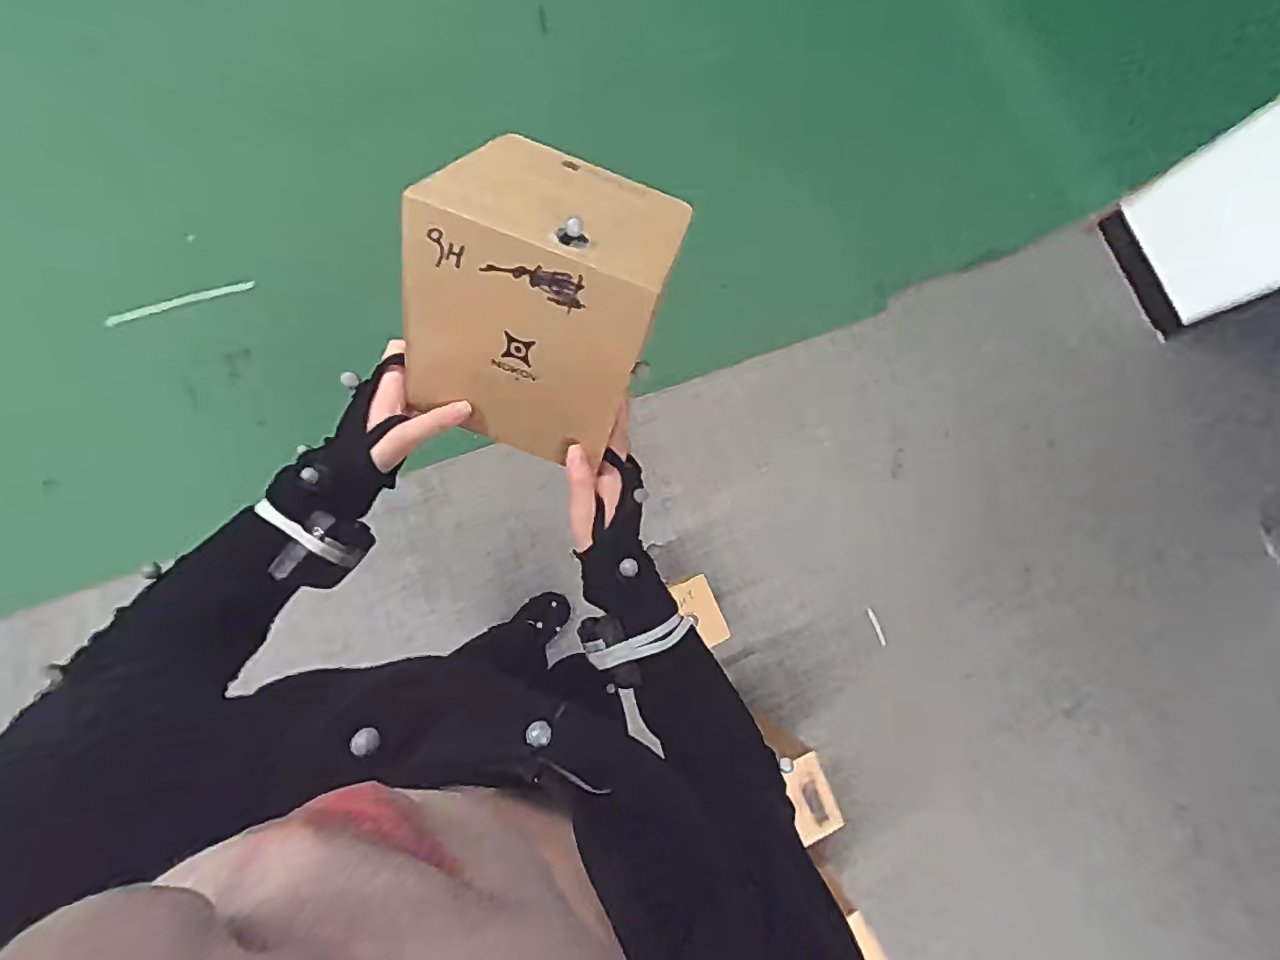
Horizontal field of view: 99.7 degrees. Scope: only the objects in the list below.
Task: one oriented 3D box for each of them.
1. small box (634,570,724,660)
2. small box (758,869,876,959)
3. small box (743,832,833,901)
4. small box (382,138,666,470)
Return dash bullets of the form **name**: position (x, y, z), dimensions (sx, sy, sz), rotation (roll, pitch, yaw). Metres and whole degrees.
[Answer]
- **small box**: position (0.097, 0.345, 1.424), dimensions (0.168, 0.176, 0.179), rotation (-22, 85, -11)
- **small box**: position (0.390, 1.013, 1.198), dimensions (0.168, 0.176, 0.179), rotation (-29, 87, -11)
- **small box**: position (0.382, 1.028, 1.360), dimensions (0.168, 0.176, 0.179), rotation (-23, 86, -10)
- **small box**: position (-0.087, -0.145, 0.450), dimensions (0.168, 0.179, 0.176), rotation (20, 46, -3)
